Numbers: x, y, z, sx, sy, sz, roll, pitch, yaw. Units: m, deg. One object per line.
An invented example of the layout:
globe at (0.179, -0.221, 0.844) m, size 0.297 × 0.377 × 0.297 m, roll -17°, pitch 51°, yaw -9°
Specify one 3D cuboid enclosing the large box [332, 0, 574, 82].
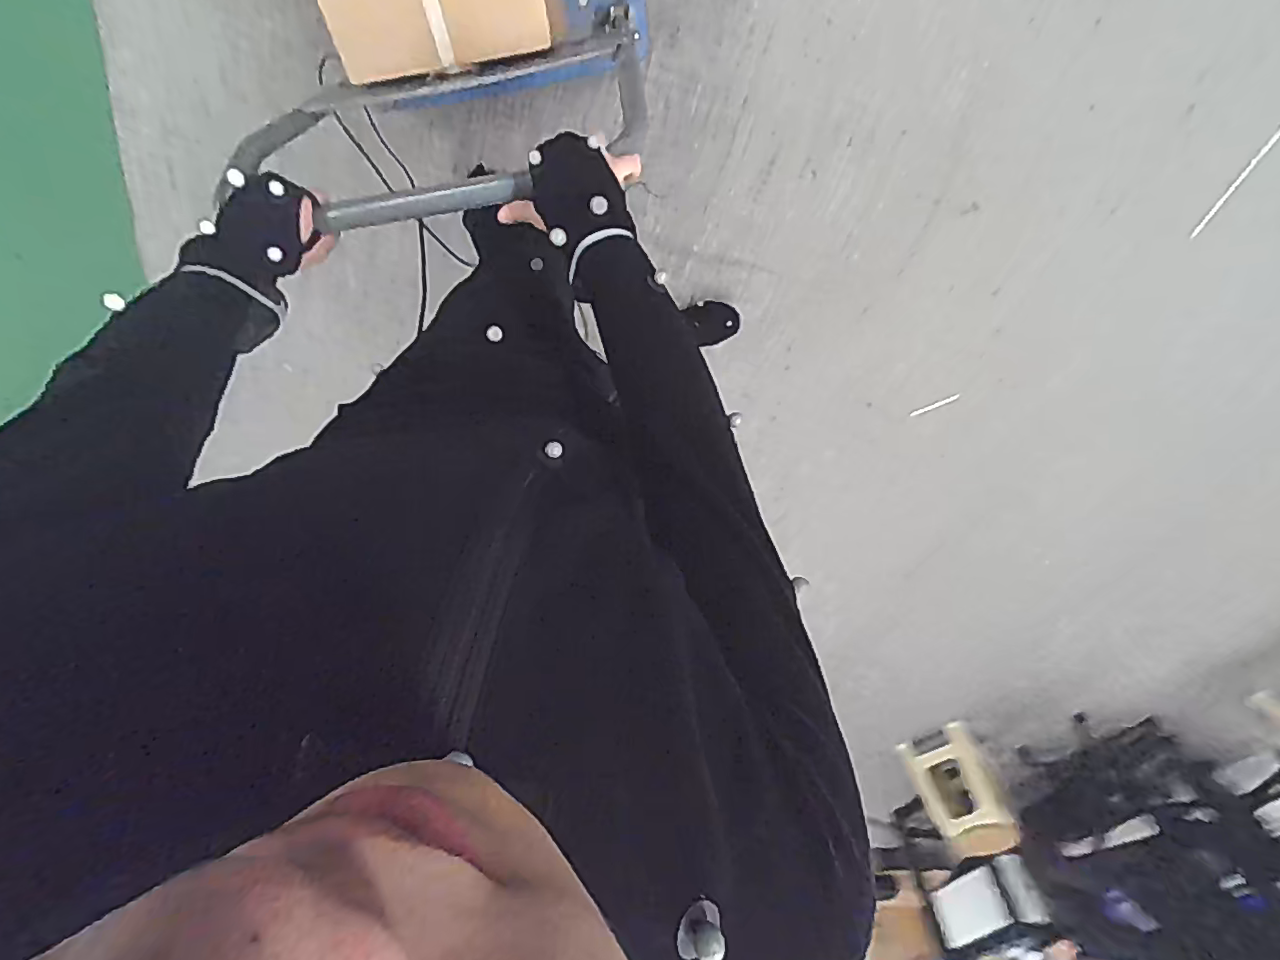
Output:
large box at (-0.303, -0.871, 0.793) m, size 0.320 × 0.320 × 0.408 m, roll -7°, pitch 131°, yaw 5°
